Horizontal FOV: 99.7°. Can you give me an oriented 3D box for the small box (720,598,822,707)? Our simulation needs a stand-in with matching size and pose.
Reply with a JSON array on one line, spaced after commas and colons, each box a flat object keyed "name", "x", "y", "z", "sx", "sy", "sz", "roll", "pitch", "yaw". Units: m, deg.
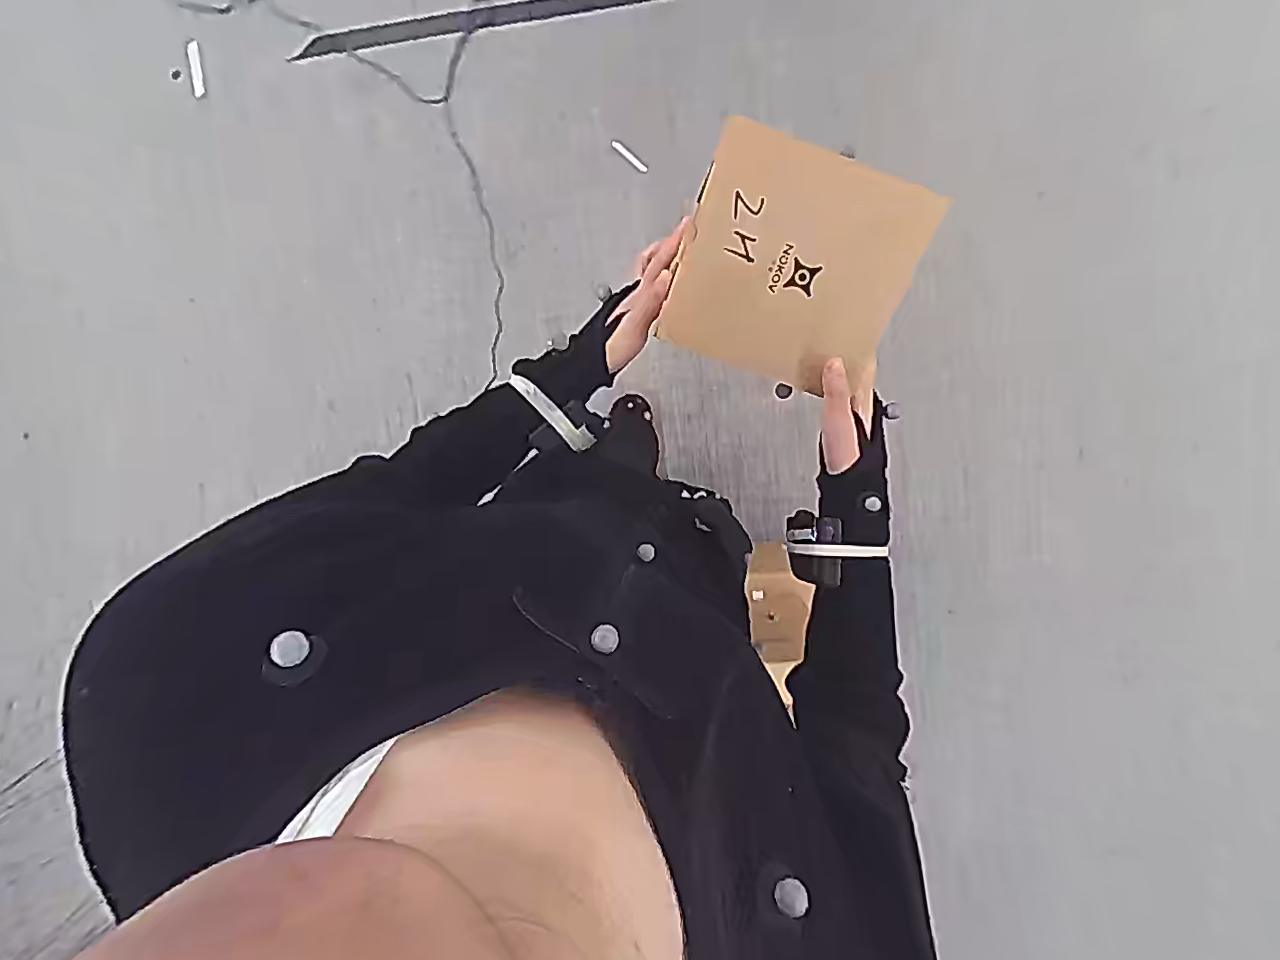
[{"name": "small box", "x": 0.266, "y": 0.350, "z": 1.124, "sx": 0.179, "sy": 0.176, "sz": 0.168, "roll": -6, "pitch": 94, "yaw": 6}]
